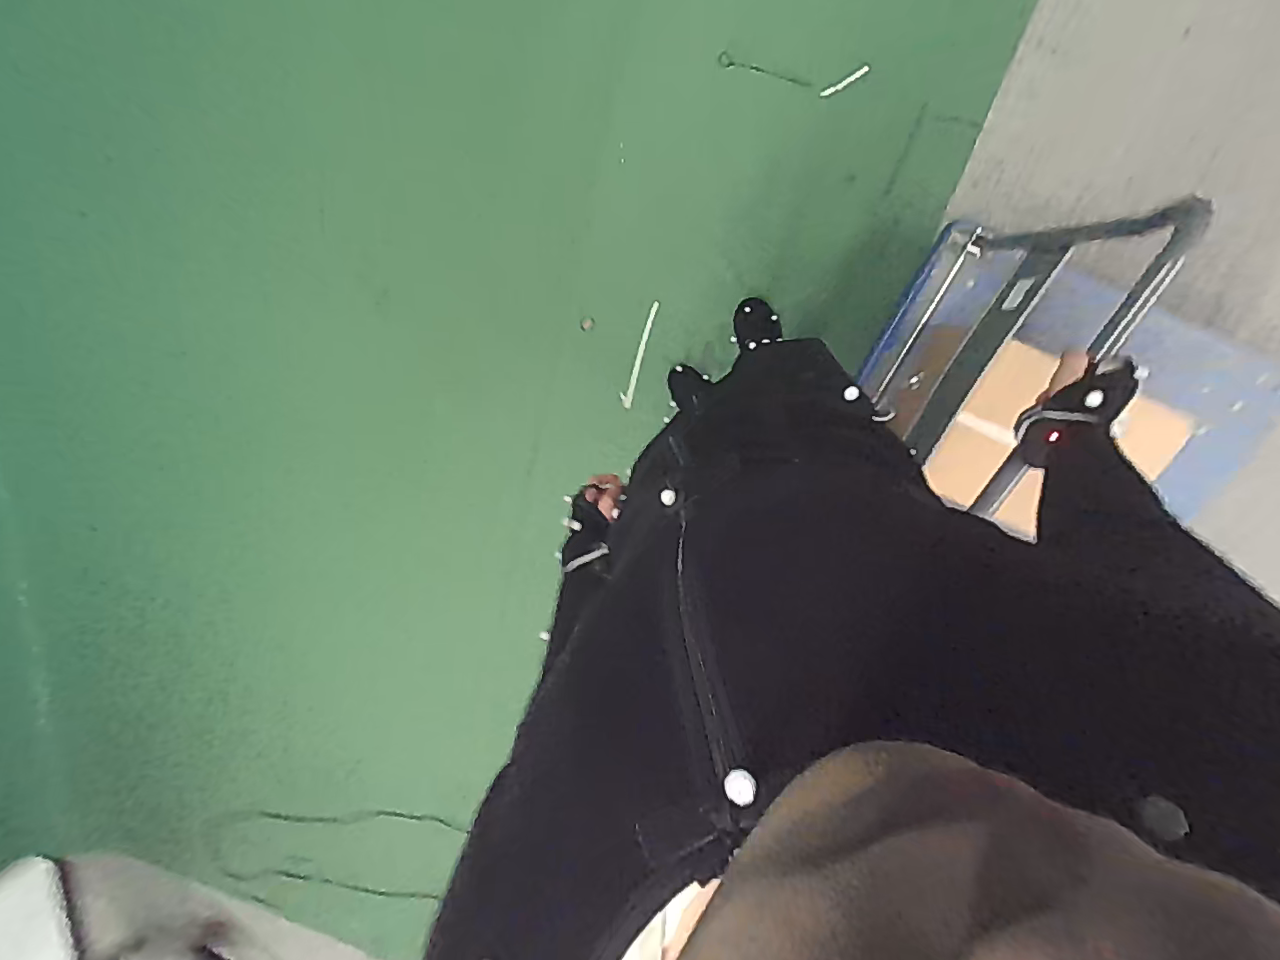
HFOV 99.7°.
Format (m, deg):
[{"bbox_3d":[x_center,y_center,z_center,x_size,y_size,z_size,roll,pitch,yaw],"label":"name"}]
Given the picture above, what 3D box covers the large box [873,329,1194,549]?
[{"bbox_3d":[0.801,-0.111,1.183,0.408,0.320,0.320,24,111,1],"label":"large box"}]
